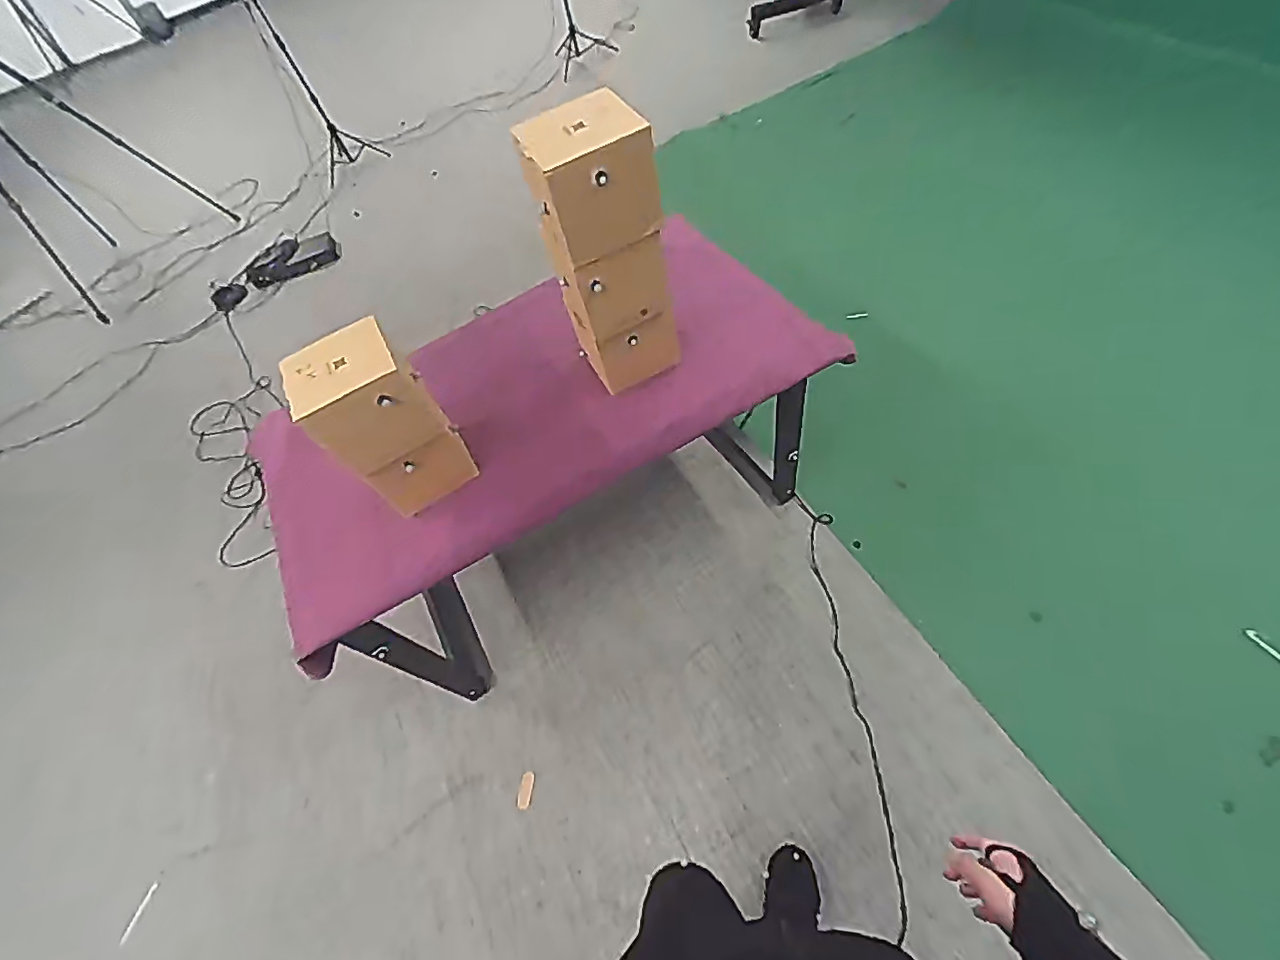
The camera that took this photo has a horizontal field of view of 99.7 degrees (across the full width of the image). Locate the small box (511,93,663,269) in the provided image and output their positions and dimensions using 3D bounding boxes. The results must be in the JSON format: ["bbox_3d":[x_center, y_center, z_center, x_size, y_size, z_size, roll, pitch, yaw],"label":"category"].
[{"bbox_3d":[-0.079,-0.476,0.875,0.179,0.176,0.168,-26,57,-6],"label":"small box"}]

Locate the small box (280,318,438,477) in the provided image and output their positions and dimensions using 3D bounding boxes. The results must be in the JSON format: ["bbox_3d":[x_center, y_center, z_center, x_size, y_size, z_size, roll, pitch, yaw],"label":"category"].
[{"bbox_3d":[-0.474,-0.139,0.938,0.179,0.176,0.168,-30,57,-8],"label":"small box"}]

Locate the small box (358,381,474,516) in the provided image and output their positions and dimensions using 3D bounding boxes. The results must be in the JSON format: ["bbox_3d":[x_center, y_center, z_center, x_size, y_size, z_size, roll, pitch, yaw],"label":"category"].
[{"bbox_3d":[-0.456,-0.060,1.083,0.179,0.176,0.168,-32,58,-9],"label":"small box"}]

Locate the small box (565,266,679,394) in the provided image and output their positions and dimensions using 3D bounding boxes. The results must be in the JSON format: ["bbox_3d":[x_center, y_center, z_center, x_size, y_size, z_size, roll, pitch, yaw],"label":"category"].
[{"bbox_3d":[-0.034,-0.315,1.156,0.179,0.176,0.168,-28,57,-7],"label":"small box"}]
